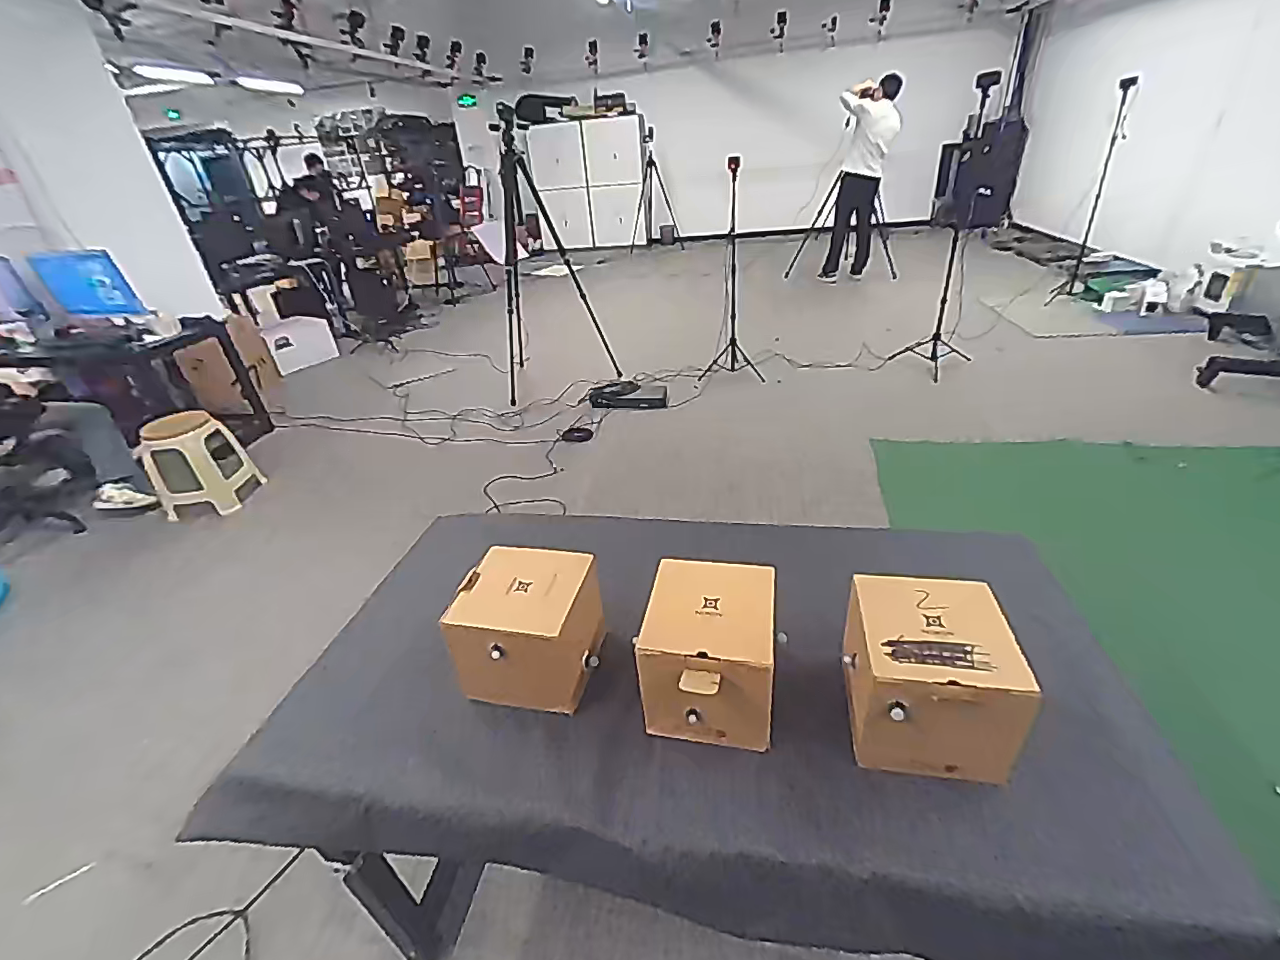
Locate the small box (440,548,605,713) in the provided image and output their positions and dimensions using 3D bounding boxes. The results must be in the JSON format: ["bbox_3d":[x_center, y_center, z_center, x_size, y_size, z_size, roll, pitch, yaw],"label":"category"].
[{"bbox_3d":[-0.163,0.223,0.813,0.179,0.176,0.168,4,33,14],"label":"small box"}]

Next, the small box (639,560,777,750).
[{"bbox_3d":[0.100,0.236,0.751,0.168,0.176,0.179,3,32,13],"label":"small box"}]
